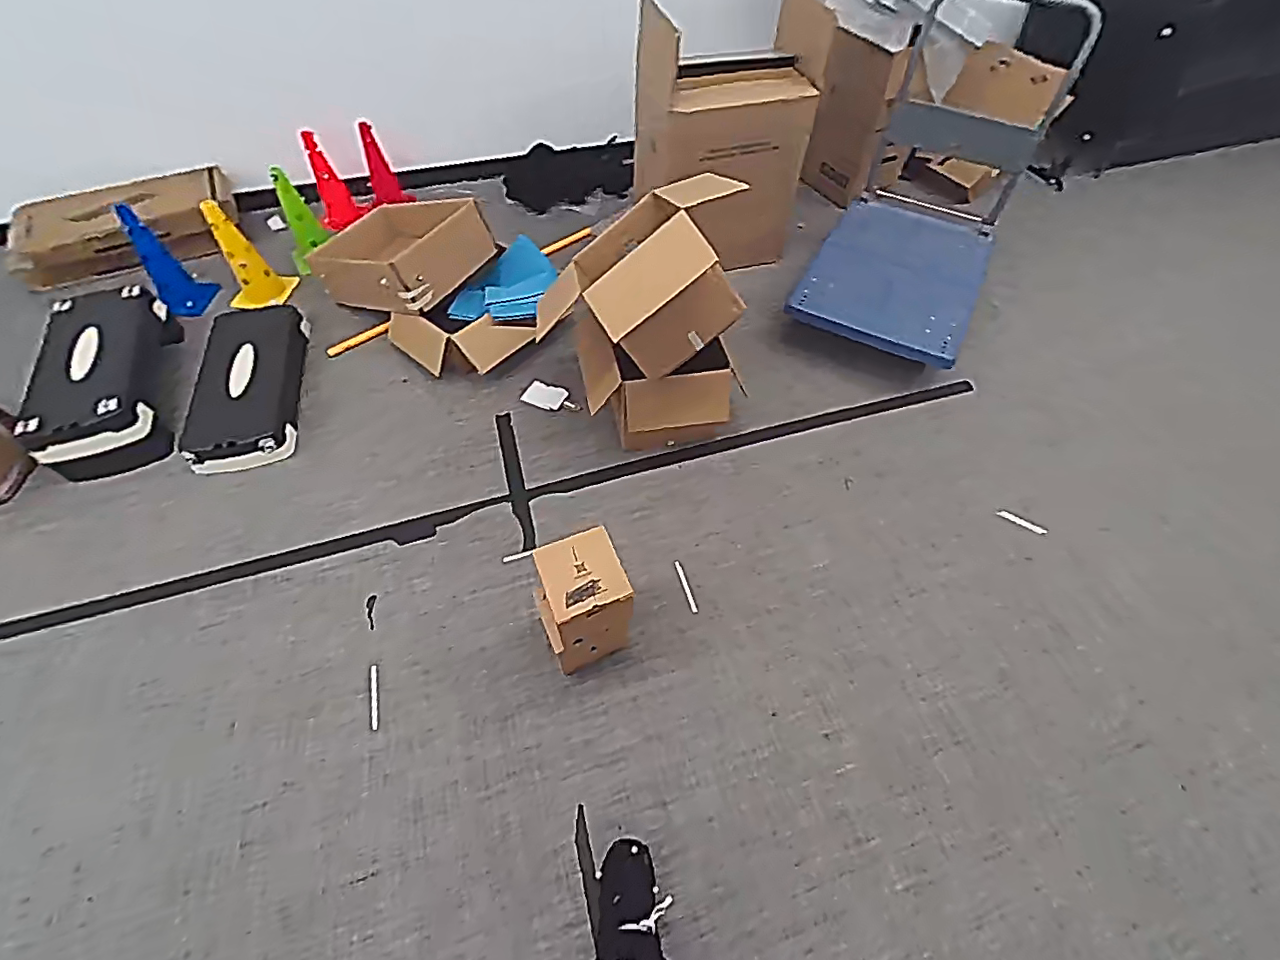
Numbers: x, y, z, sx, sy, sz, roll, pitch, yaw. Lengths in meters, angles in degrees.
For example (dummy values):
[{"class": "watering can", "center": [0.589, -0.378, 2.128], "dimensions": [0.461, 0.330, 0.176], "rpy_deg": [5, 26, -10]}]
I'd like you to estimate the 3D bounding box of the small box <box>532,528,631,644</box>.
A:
[{"class": "small box", "center": [-0.123, 0.238, 1.177], "dimensions": [0.168, 0.176, 0.179], "rpy_deg": [-18, 57, -14]}]
